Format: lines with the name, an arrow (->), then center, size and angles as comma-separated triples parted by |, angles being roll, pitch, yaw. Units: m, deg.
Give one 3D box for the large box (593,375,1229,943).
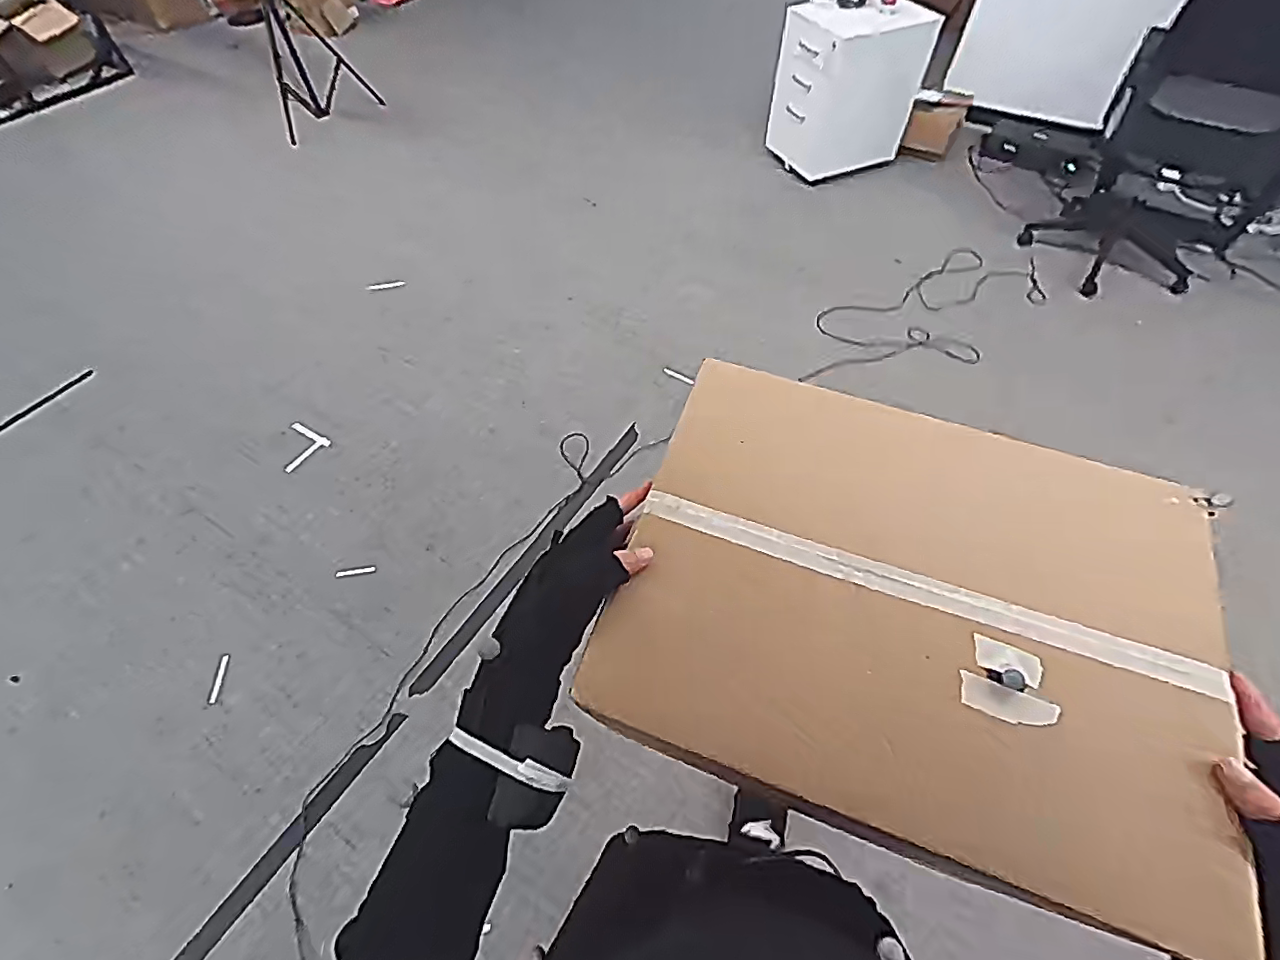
large box -> 0.203, 0.151, 0.538 | 0.408, 0.320, 0.320 | 18, 65, 11
